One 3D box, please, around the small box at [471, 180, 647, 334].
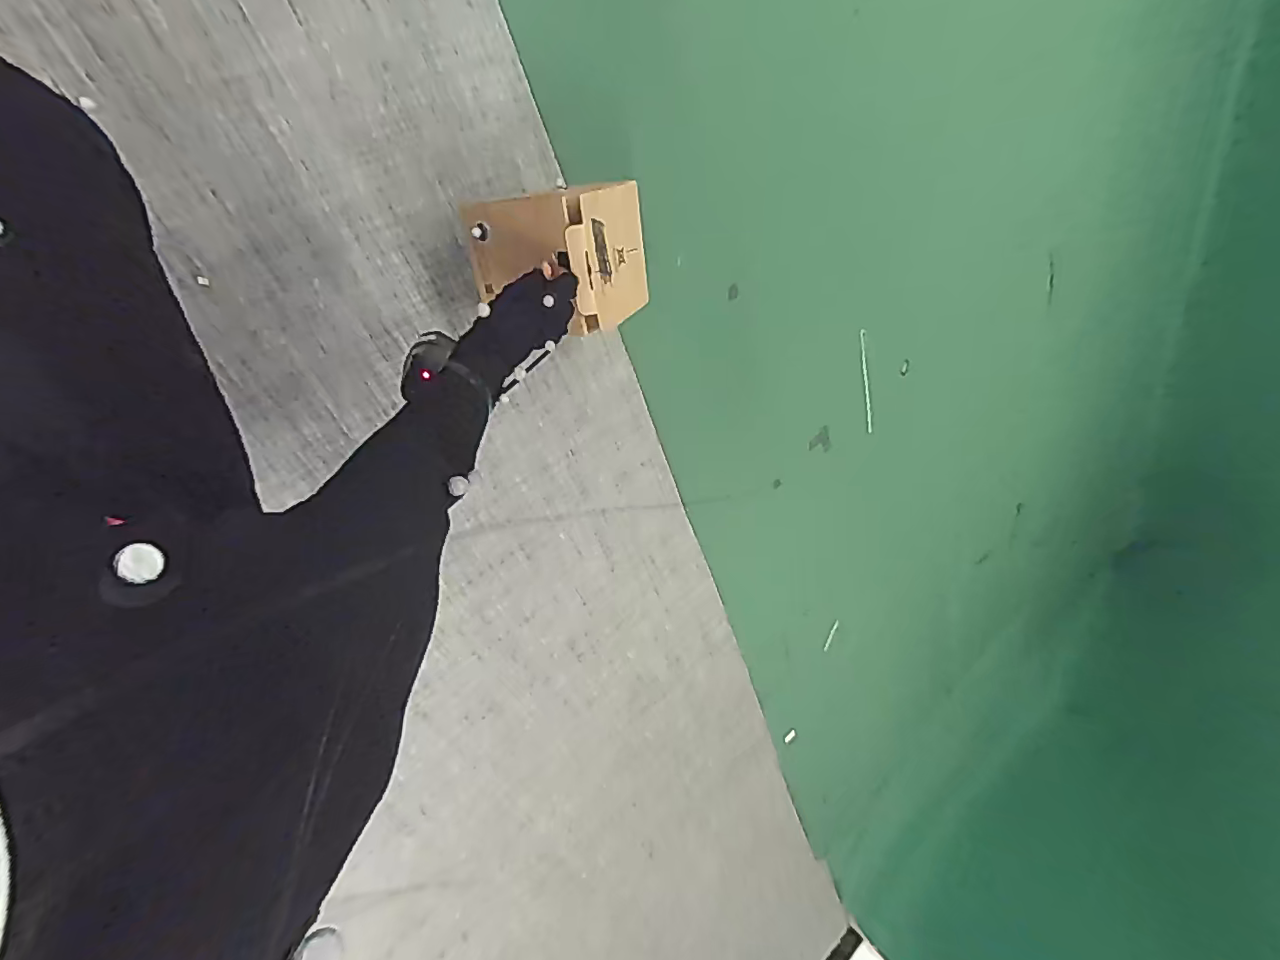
[{"bbox_3d":[-0.109,-0.306,0.741,0.179,0.176,0.168,-47,140,-47],"label":"small box"}]
